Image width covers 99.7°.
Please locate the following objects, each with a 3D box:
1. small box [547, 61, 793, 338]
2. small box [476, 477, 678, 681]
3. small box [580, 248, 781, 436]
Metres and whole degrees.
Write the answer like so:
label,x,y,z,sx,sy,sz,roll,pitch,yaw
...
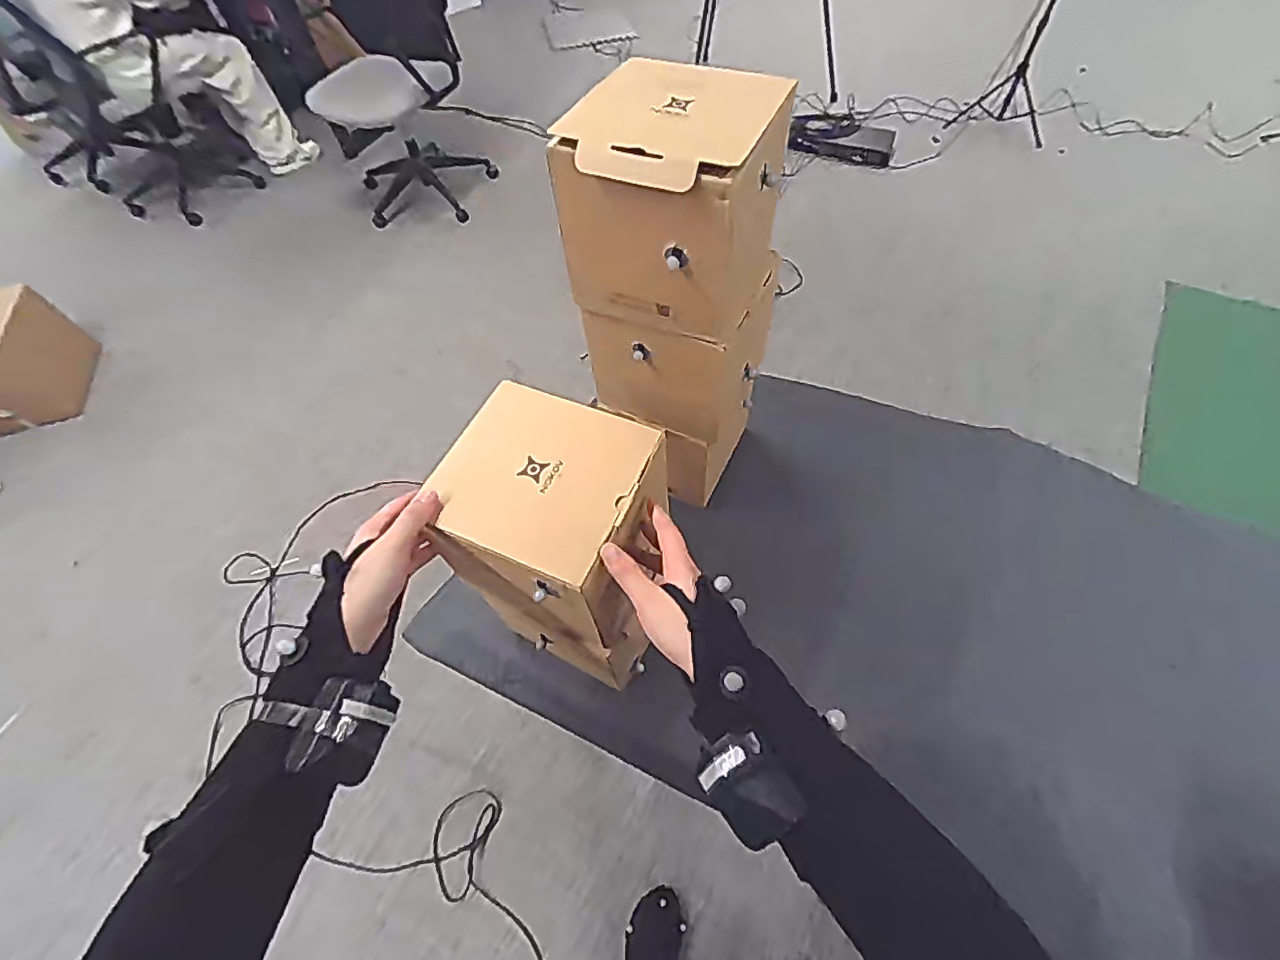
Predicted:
label,x,y,z,sx,sy,sz,roll,pitch,yaw
small box,0.034,-0.269,0.530,0.168,0.176,0.179,19,60,14
small box,-0.063,0.130,0.673,0.179,0.176,0.168,23,62,18
small box,0.051,-0.181,0.665,0.179,0.176,0.168,22,63,17
